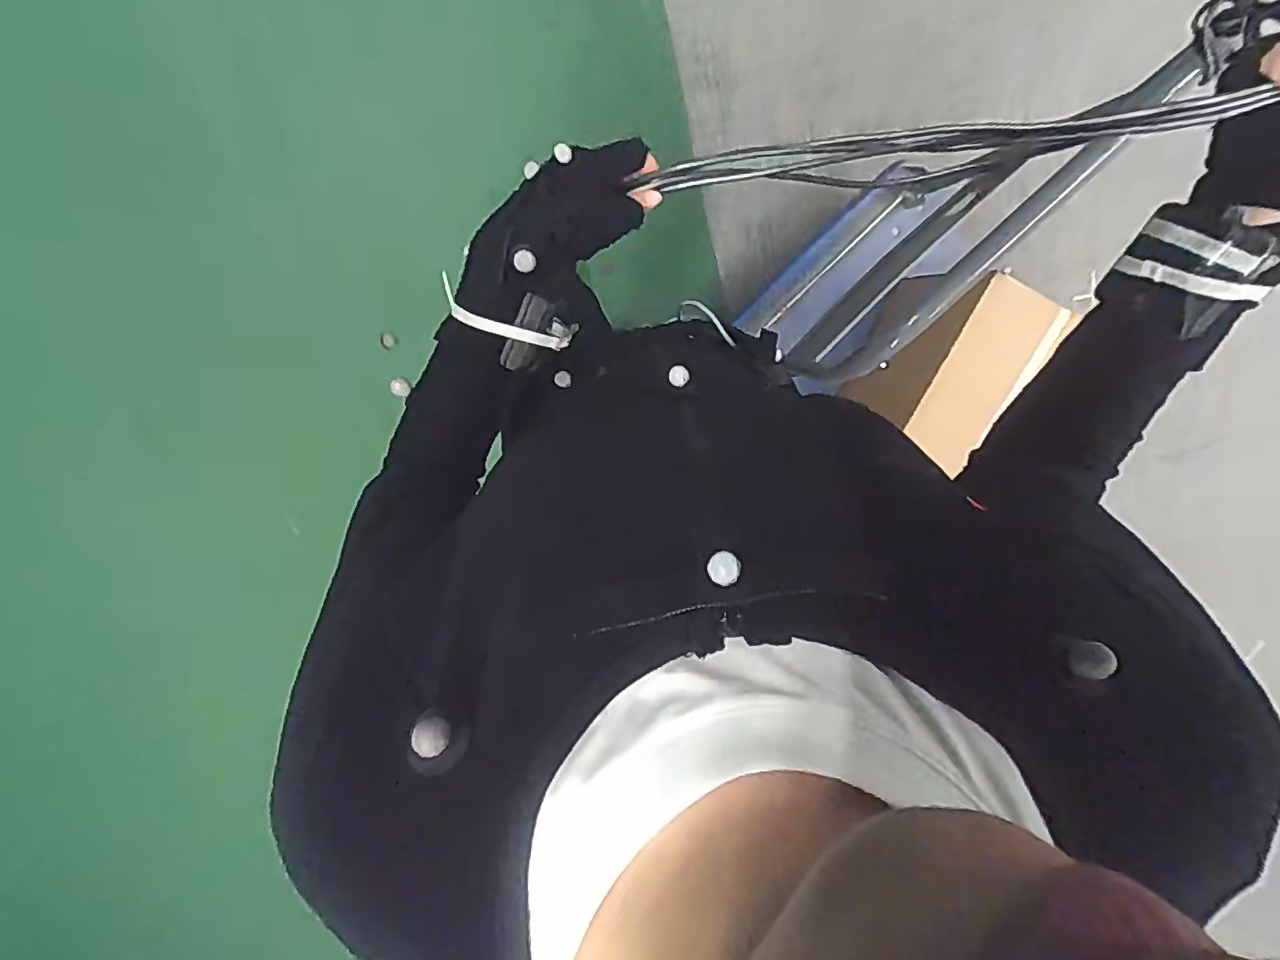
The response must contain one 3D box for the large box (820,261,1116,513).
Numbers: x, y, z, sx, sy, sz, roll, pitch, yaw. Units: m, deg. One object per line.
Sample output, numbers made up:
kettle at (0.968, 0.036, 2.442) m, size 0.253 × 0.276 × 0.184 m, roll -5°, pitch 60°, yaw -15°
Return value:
large box at (0.662, -0.201, 1.168) m, size 0.320 × 0.320 × 0.408 m, roll 22°, pitch 104°, yaw -13°
